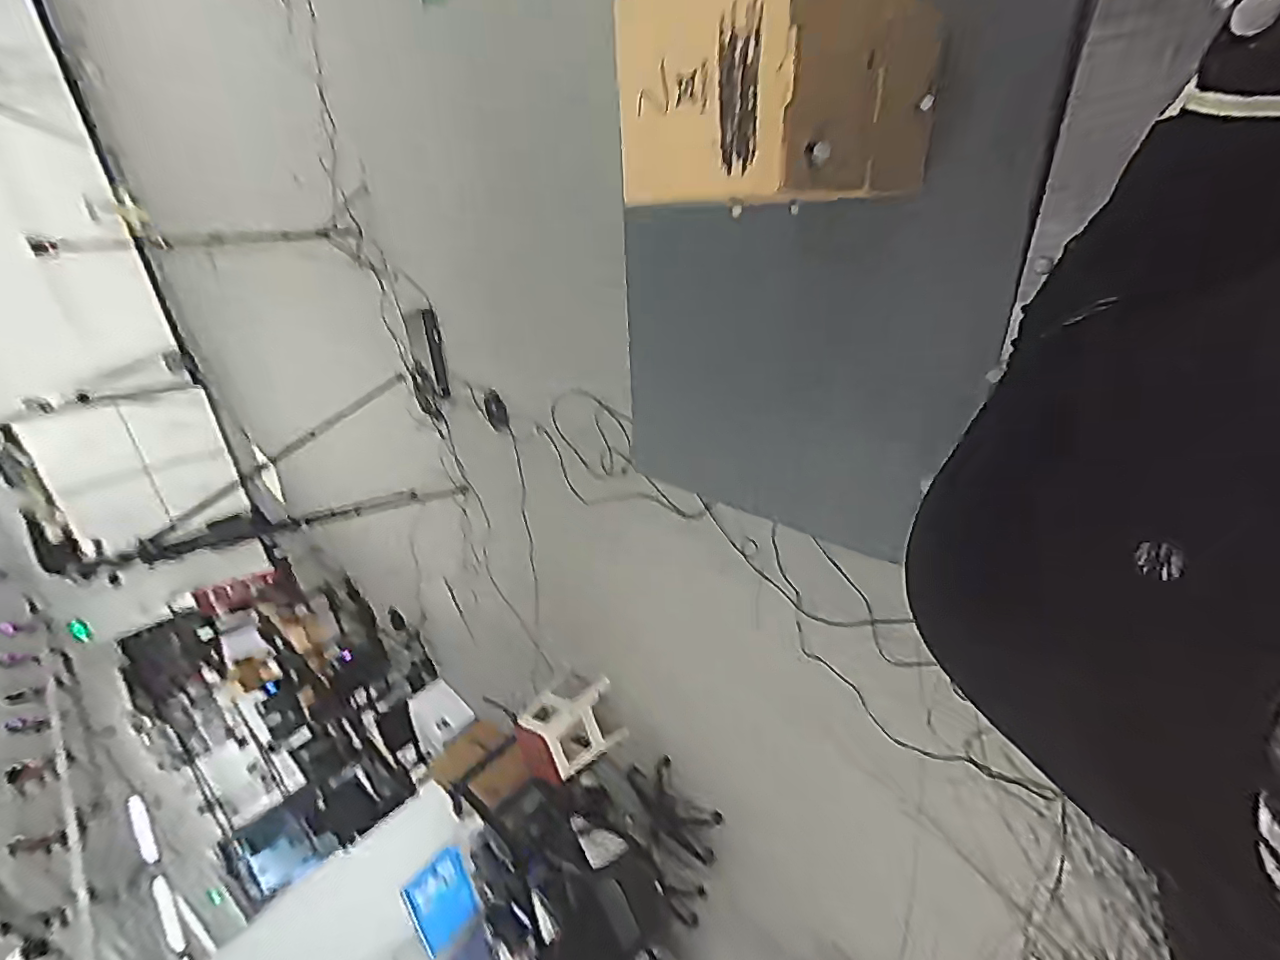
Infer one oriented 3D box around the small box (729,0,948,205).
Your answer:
[{"bbox_3d":[0.220,-0.410,0.616,0.179,0.176,0.168,17,123,39],"label":"small box"}]
